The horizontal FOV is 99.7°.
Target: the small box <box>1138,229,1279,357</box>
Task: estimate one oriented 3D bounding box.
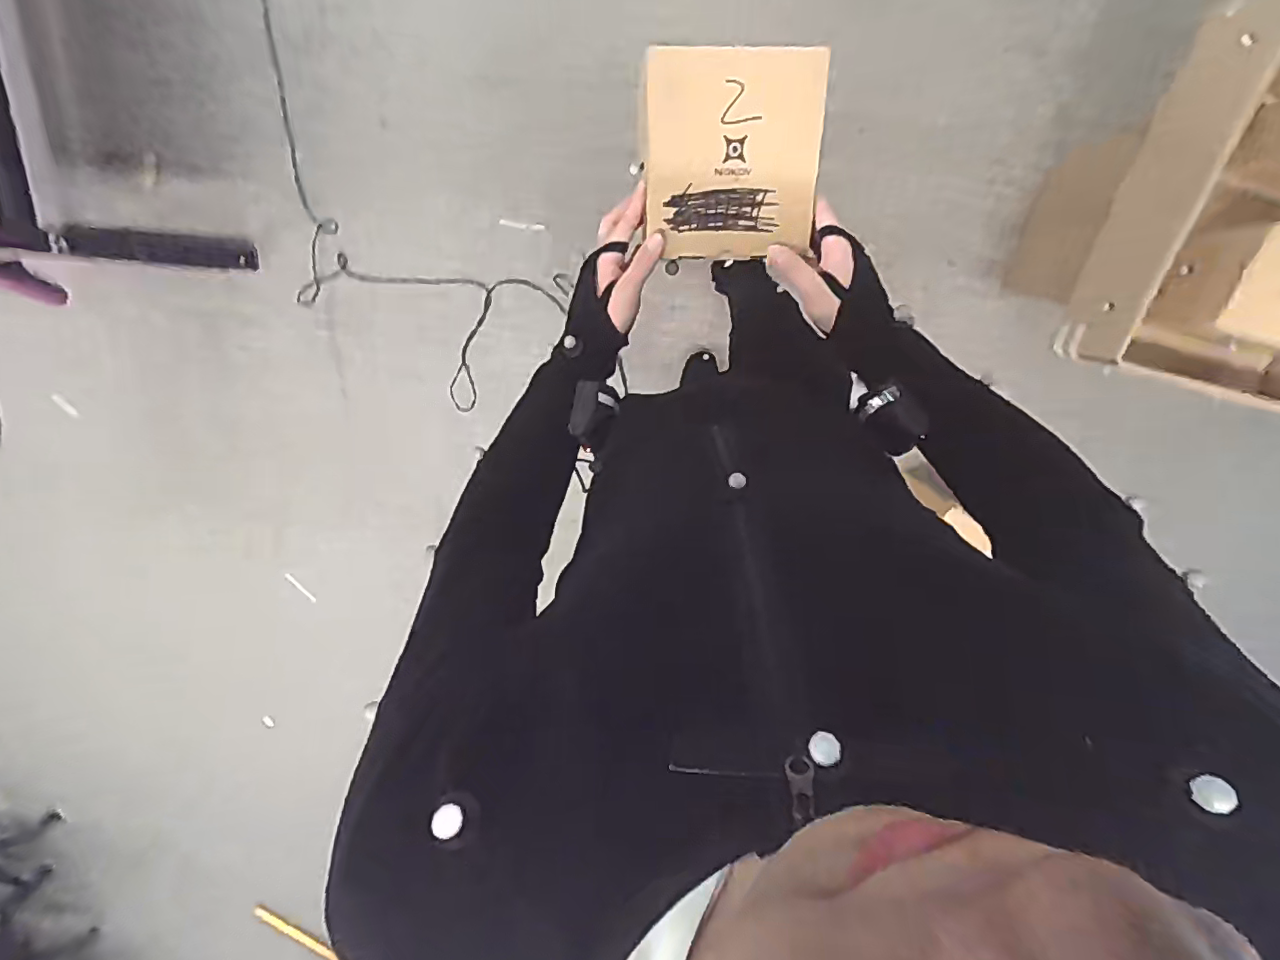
[{"bbox_3d":[1.059,-0.325,0.951,0.179,0.176,0.168,16,109,-1],"label":"small box"}]

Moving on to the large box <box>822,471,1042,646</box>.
[{"bbox_3d":[0.789,0.247,1.534,0.320,0.320,0.408,30,107,-7],"label":"large box"}]
